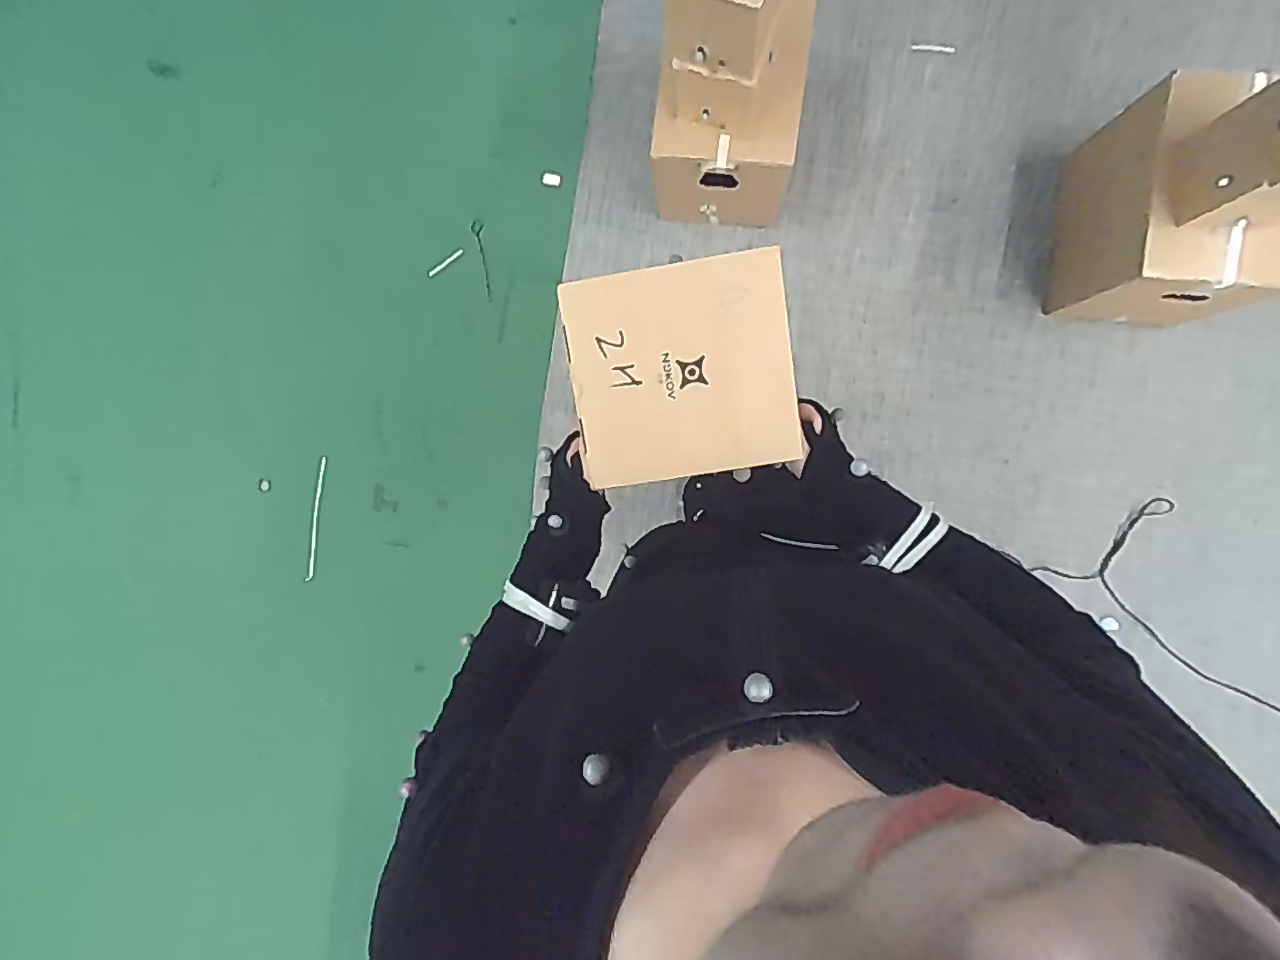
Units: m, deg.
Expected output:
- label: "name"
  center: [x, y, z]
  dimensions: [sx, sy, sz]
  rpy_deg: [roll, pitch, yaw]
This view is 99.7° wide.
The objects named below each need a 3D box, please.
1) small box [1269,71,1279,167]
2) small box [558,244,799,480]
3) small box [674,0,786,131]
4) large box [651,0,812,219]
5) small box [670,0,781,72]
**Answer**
- label: "small box"
  center: [1.120, -0.587, 0.812]
  dimensions: [0.168, 0.176, 0.179]
  rpy_deg: [-1, 93, 7]
- label: "small box"
  center: [0.035, -0.104, 0.507]
  dimensions: [0.179, 0.176, 0.168]
  rpy_deg: [-8, 99, 5]
- label: "small box"
  center: [0.173, -0.840, 1.066]
  dimensions: [0.168, 0.176, 0.179]
  rpy_deg: [18, 95, 6]
- label: "large box"
  center: [0.214, -0.899, 1.304]
  dimensions: [0.320, 0.320, 0.408]
  rpy_deg: [7, 92, 6]
- label: "small box"
  center: [0.150, -0.844, 0.904]
  dimensions: [0.168, 0.176, 0.179]
  rpy_deg: [22, 96, 7]
